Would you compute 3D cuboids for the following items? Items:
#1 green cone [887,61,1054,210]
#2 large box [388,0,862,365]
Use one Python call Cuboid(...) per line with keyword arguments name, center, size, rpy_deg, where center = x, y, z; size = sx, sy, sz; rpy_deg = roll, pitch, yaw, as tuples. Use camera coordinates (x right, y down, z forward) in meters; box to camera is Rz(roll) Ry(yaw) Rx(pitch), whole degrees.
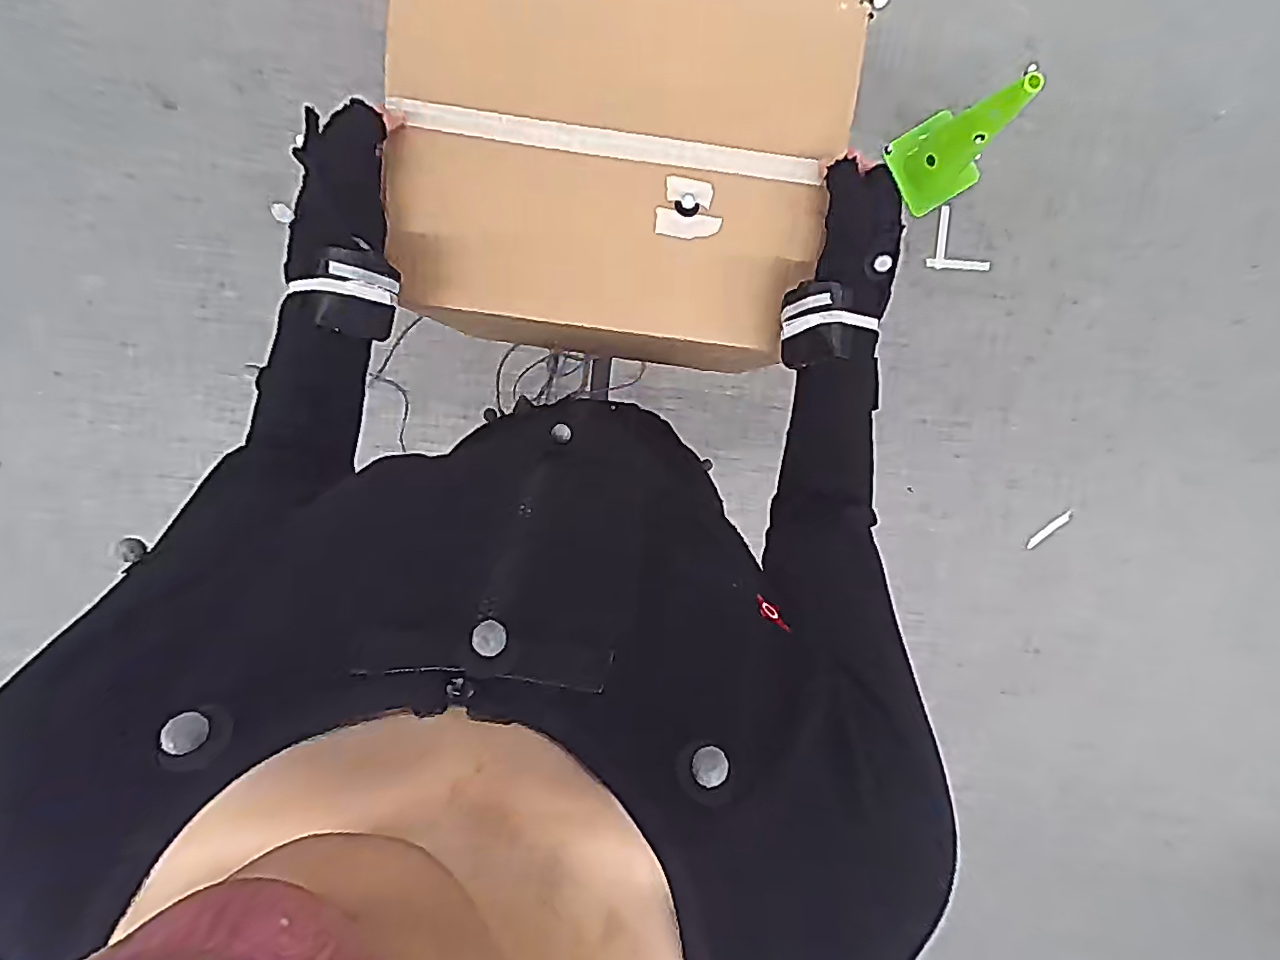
Cuboid(name="green cone", center=(0.765, -0.804, 1.218), size=(0.202, 0.368, 0.200), rpy_deg=(-32, 98, 1))
Cuboid(name="large box", center=(-0.025, -0.320, 0.628), size=(0.408, 0.320, 0.320), rpy_deg=(7, 98, -4))
